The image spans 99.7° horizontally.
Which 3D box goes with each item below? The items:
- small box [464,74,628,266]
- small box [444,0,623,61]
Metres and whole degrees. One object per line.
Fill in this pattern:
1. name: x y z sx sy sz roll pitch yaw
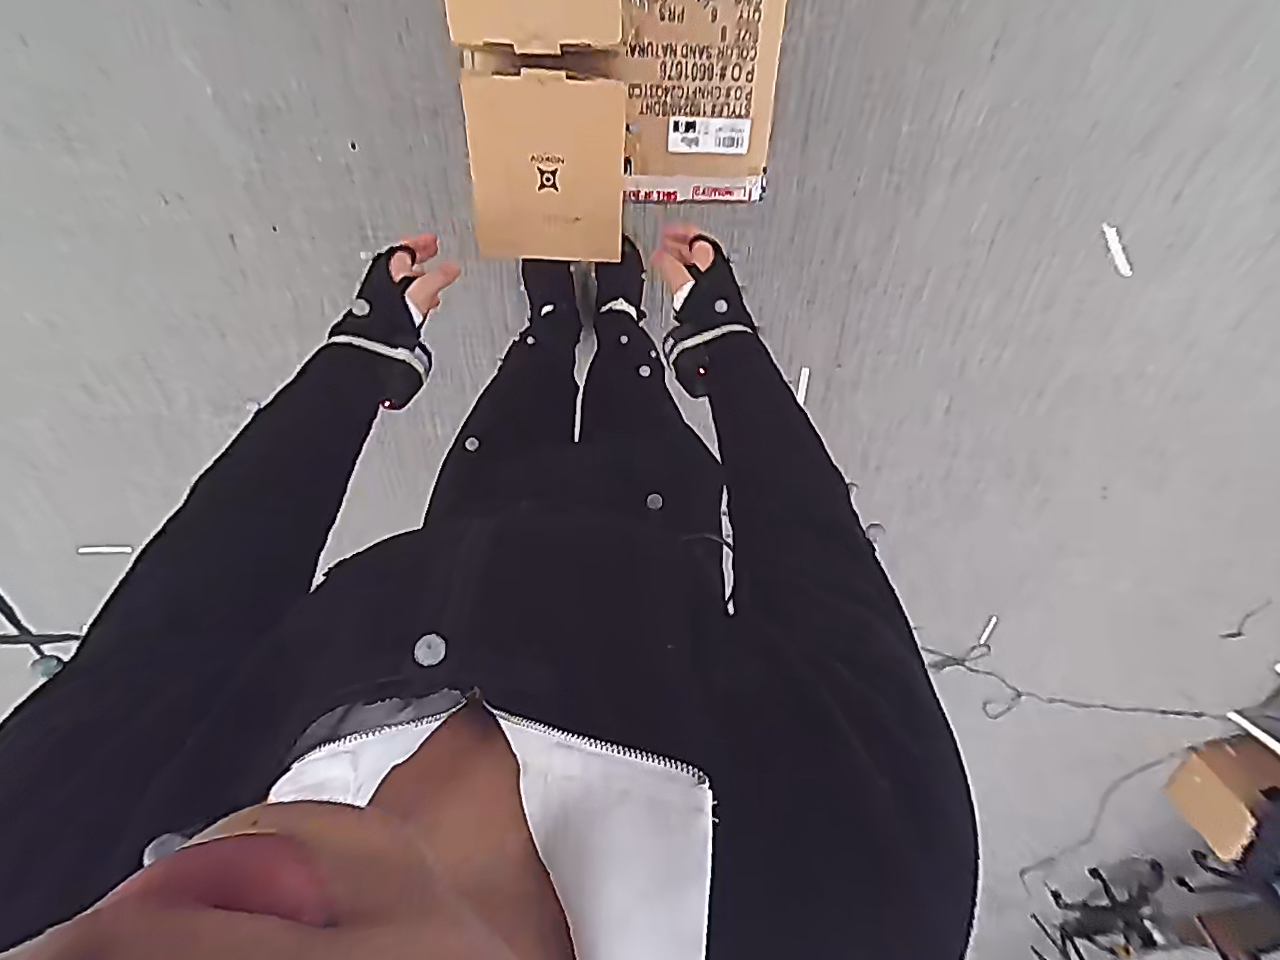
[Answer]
1. small box: -0.101 -0.372 0.649 0.168 0.176 0.179 1 126 -3
2. small box: -0.100 -0.529 0.536 0.168 0.176 0.179 -1 127 -2
